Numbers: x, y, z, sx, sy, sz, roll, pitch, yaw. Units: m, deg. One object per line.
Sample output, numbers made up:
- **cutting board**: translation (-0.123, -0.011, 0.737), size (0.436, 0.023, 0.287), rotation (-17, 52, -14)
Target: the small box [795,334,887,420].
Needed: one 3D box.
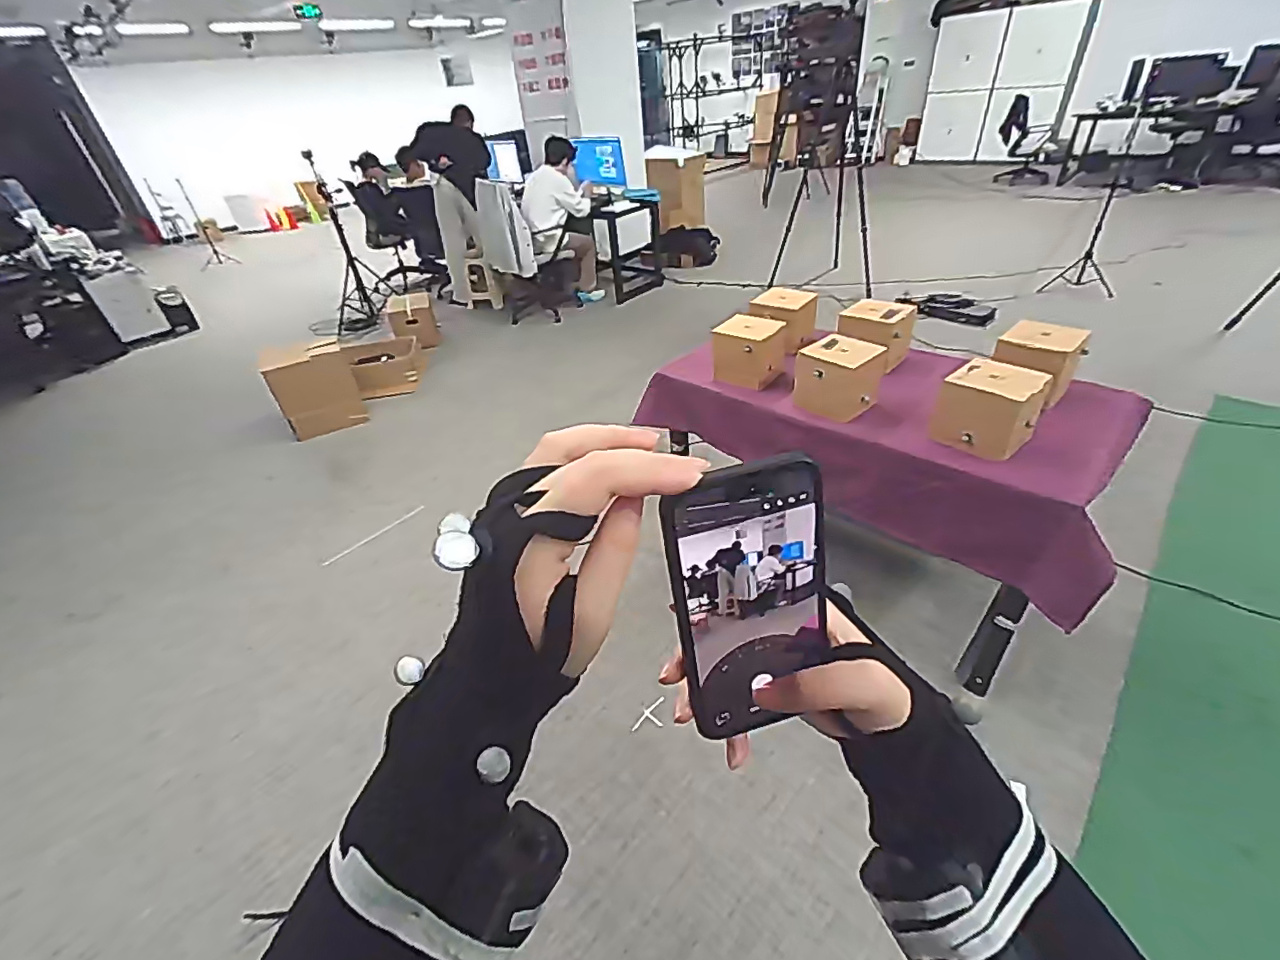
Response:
- **small box**: translation (0.557, -0.290, 1.522), size (0.168, 0.176, 0.179), rotation (-30, 43, -28)

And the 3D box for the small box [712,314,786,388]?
- **small box**: translation (0.343, -0.409, 1.718), size (0.179, 0.176, 0.168), rotation (22, 45, 32)

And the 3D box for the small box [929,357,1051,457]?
- **small box**: translation (0.846, -0.175, 1.319), size (0.168, 0.176, 0.179), rotation (-29, 42, -28)

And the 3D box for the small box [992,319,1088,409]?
- **small box**: translation (1.074, -0.319, 1.479), size (0.179, 0.176, 0.168), rotation (-32, 43, -30)
